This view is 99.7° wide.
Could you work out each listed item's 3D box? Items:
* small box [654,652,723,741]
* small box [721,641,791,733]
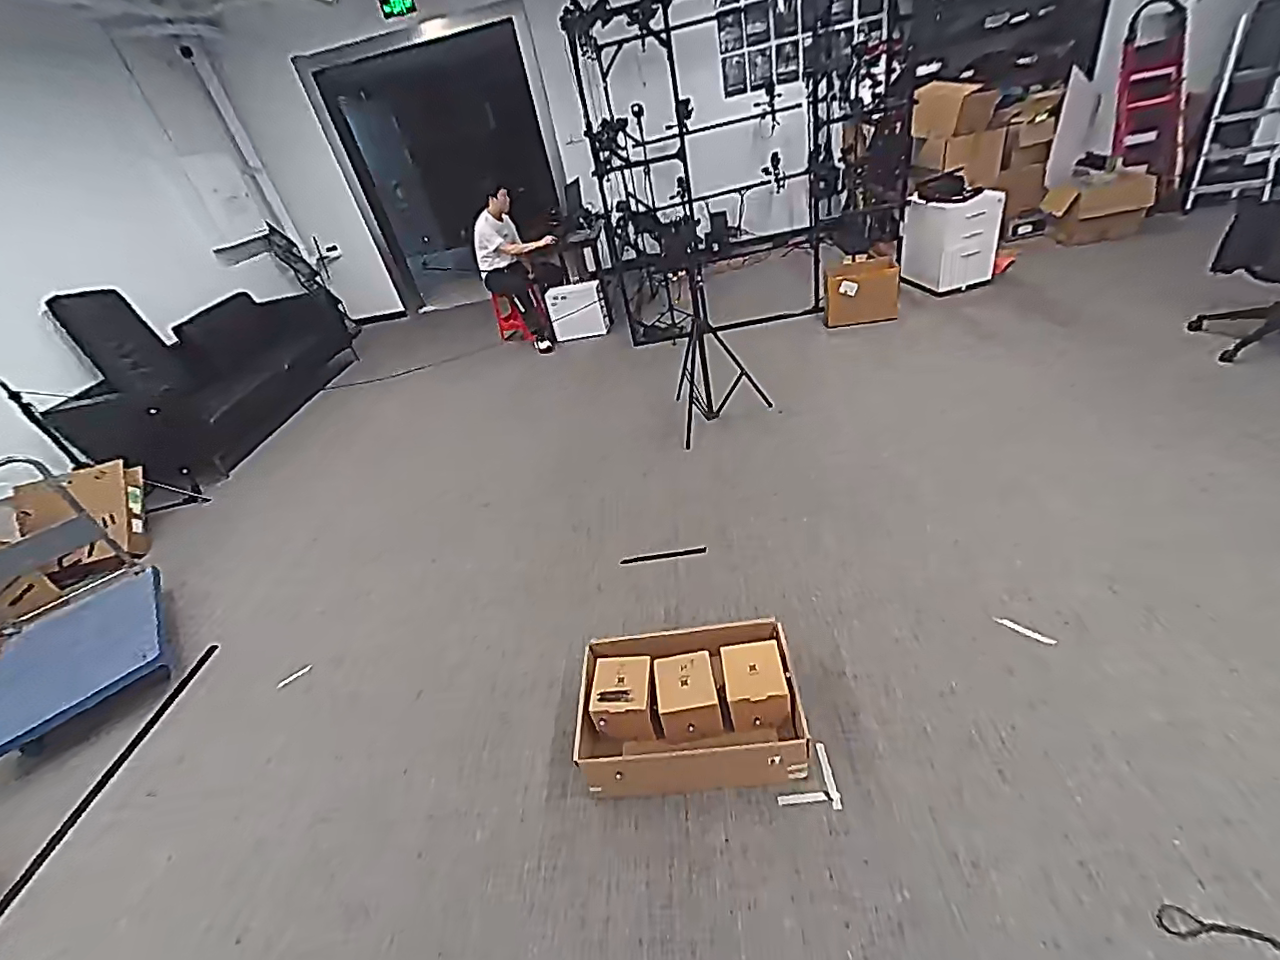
[{"bbox_3d":[0.141,0.634,1.570,0.168,0.176,0.179,-10,34,3],"label":"small box"},{"bbox_3d":[0.334,0.596,1.557,0.168,0.176,0.179,-11,35,8],"label":"small box"}]
